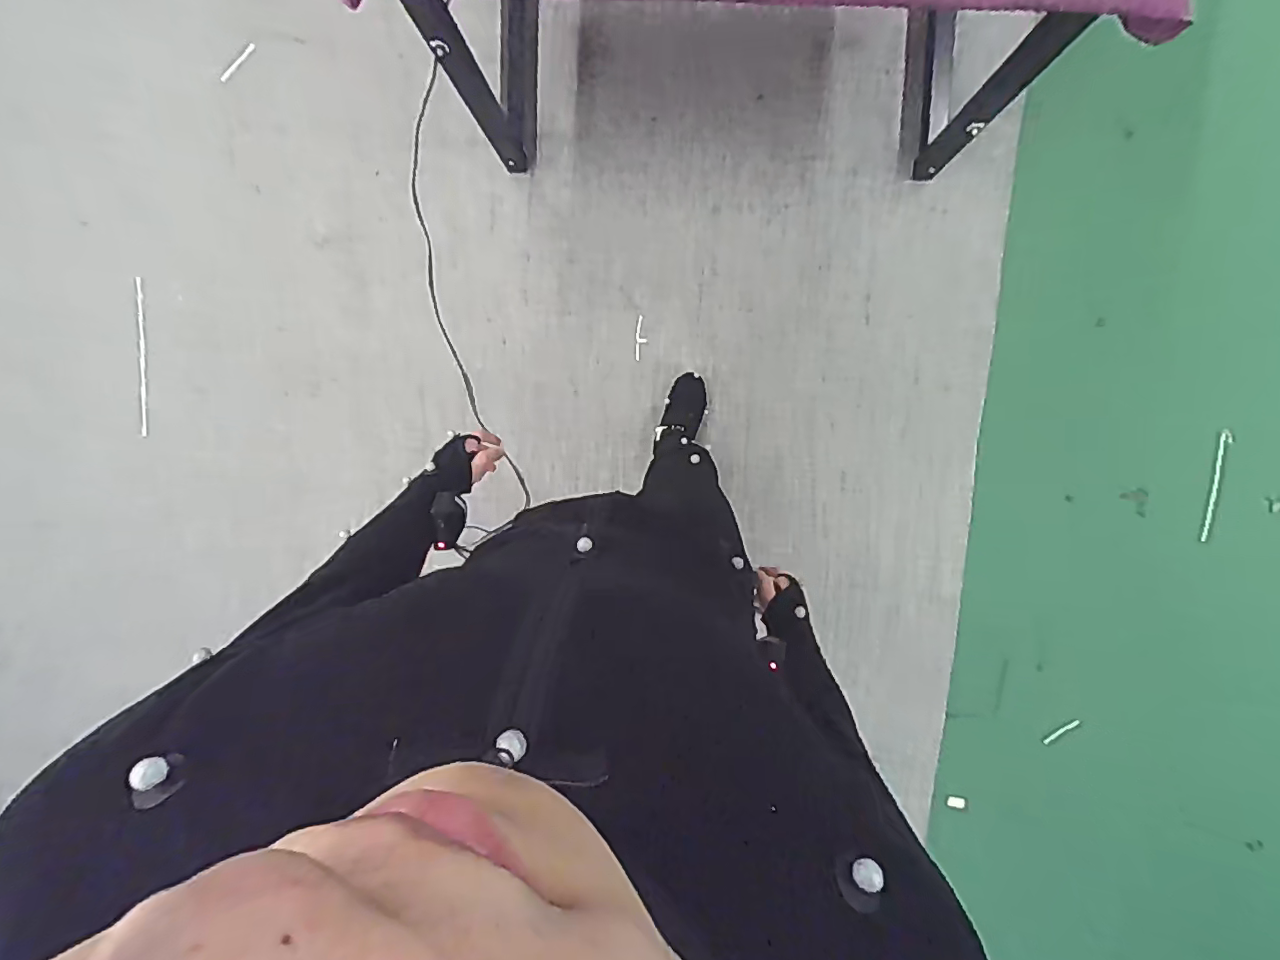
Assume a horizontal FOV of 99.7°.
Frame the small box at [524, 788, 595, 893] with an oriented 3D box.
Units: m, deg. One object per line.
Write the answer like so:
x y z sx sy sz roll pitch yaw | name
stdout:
-0.226 1.033 1.560 0.168 0.176 0.179 8 95 1 | small box
